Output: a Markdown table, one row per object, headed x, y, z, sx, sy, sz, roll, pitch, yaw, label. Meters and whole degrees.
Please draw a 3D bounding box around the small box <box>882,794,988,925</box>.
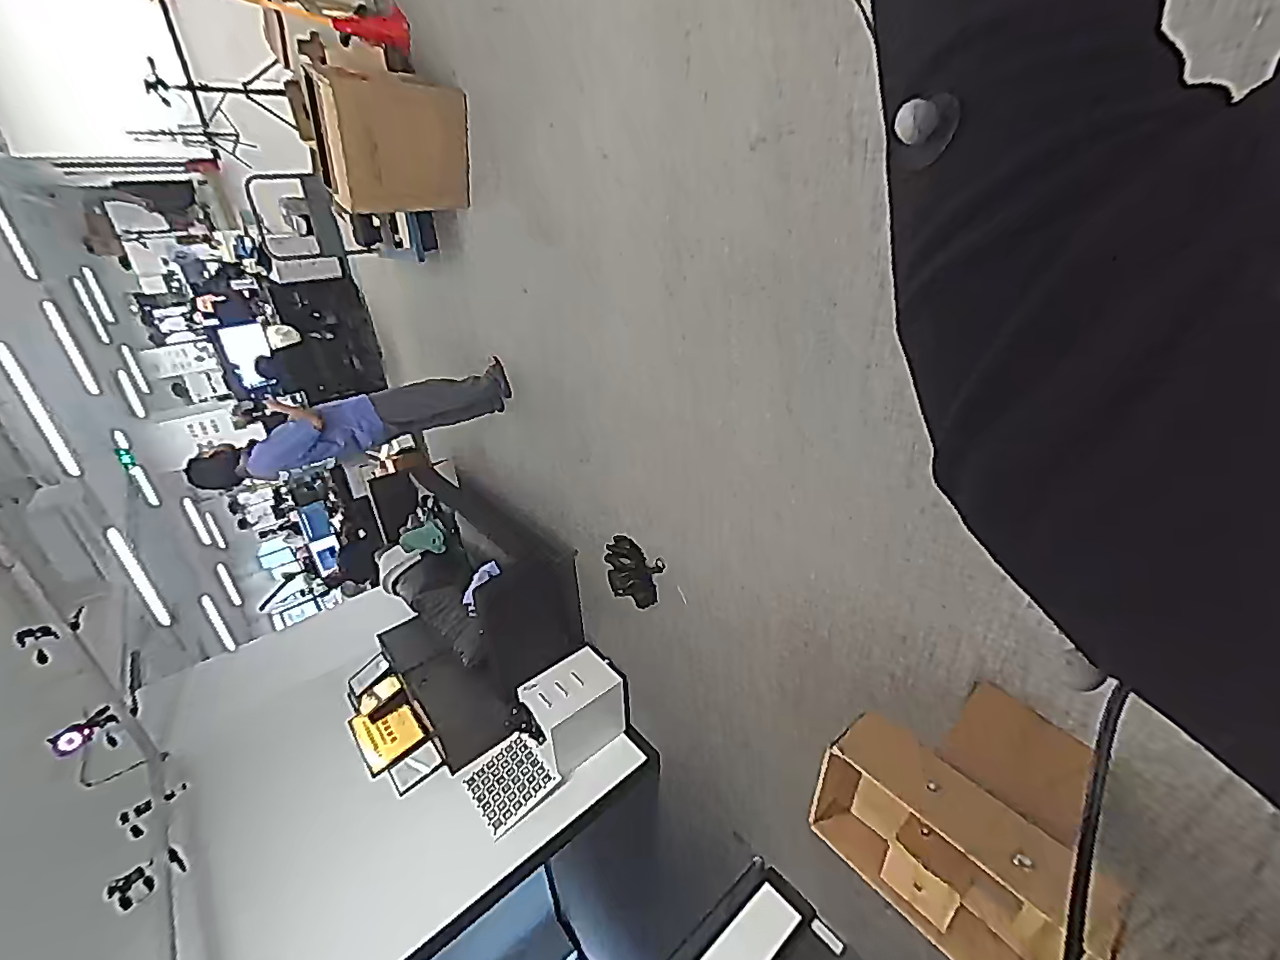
| x | y | z | sx | sy | sz | roll | pitch | yaw | label |
| --- | --- | --- | --- | --- | --- | --- | --- | --- | --- |
| 0.739 | 0.940 | 1.353 | 0.168 | 0.176 | 0.179 | 28 | 133 | 44 | small box |
